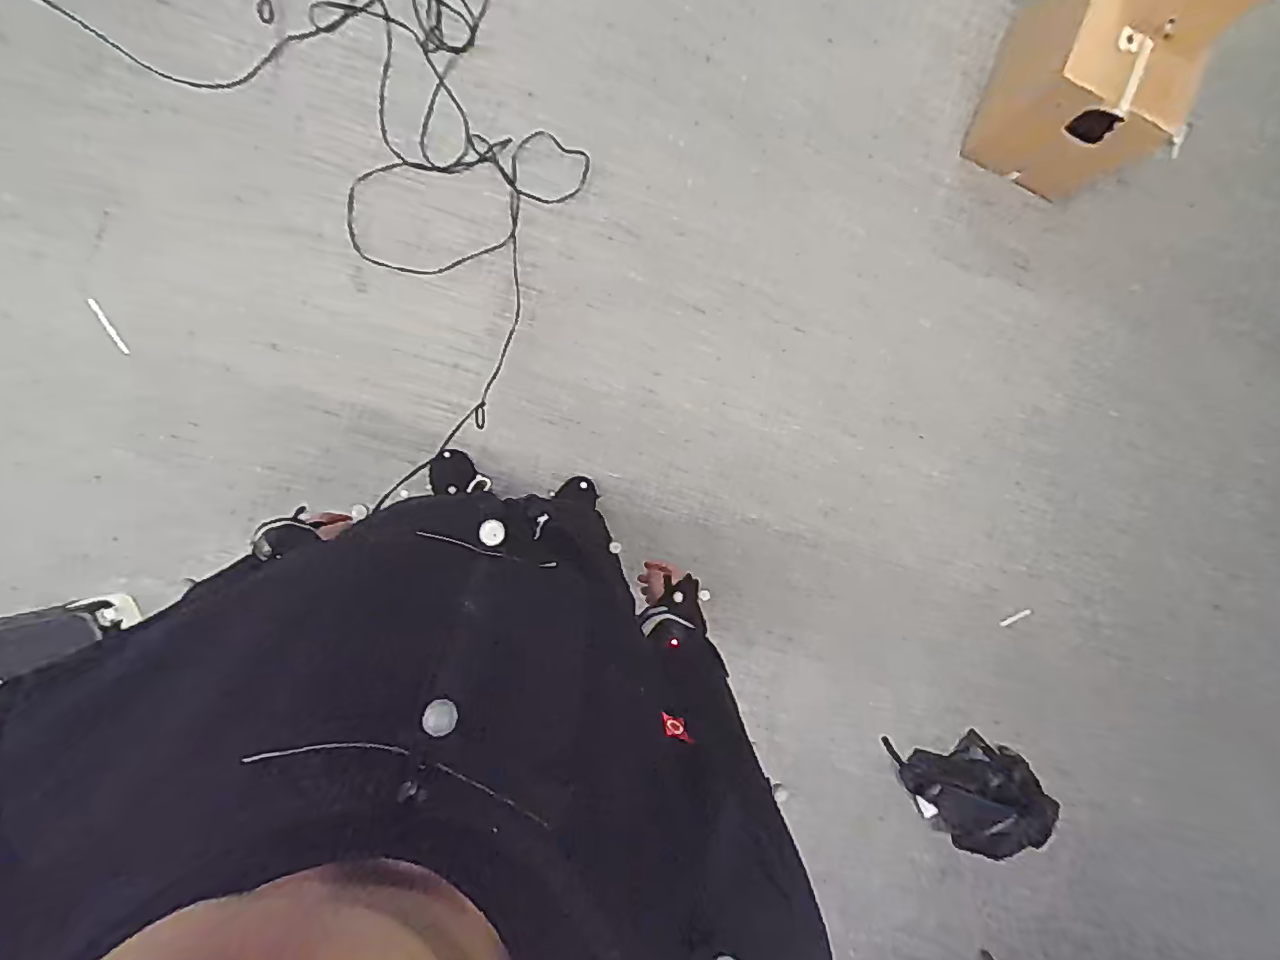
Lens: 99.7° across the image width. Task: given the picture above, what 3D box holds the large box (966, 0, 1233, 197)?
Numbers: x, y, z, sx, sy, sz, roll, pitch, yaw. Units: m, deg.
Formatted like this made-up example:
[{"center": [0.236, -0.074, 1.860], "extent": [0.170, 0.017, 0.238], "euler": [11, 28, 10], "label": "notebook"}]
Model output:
[{"center": [1.081, -0.989, 1.298], "extent": [0.320, 0.320, 0.408], "euler": [21, 92, -7], "label": "large box"}]
